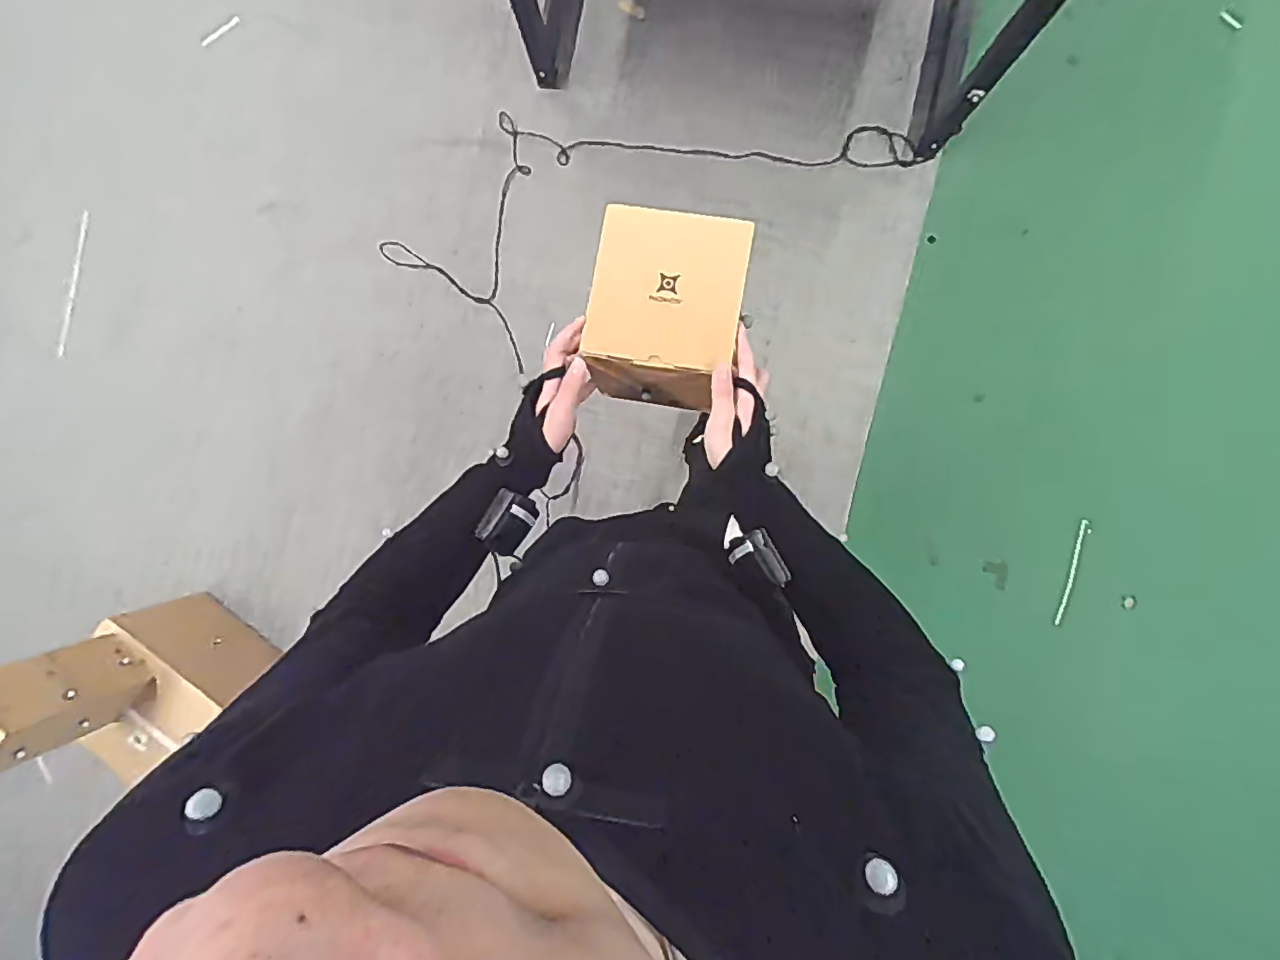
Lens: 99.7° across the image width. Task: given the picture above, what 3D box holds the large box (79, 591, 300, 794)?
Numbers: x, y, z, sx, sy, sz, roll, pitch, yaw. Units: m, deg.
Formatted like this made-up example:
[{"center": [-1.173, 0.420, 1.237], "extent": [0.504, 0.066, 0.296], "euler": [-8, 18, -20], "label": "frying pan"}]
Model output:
[{"center": [-1.316, 0.585, 1.561], "extent": [0.408, 0.320, 0.320], "euler": [37, 93, 0], "label": "large box"}]

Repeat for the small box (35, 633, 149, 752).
[{"center": [-1.372, 0.507, 1.316], "extent": [0.168, 0.176, 0.179], "euler": [43, 91, 0], "label": "small box"}]

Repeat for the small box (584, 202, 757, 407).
[{"center": [0.037, -0.201, 0.663], "extent": [0.168, 0.176, 0.179], "euler": [9, 86, 4], "label": "small box"}]

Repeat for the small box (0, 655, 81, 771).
[{"center": [-1.370, 0.508, 1.152], "extent": [0.168, 0.176, 0.179], "euler": [44, 92, 0], "label": "small box"}]
